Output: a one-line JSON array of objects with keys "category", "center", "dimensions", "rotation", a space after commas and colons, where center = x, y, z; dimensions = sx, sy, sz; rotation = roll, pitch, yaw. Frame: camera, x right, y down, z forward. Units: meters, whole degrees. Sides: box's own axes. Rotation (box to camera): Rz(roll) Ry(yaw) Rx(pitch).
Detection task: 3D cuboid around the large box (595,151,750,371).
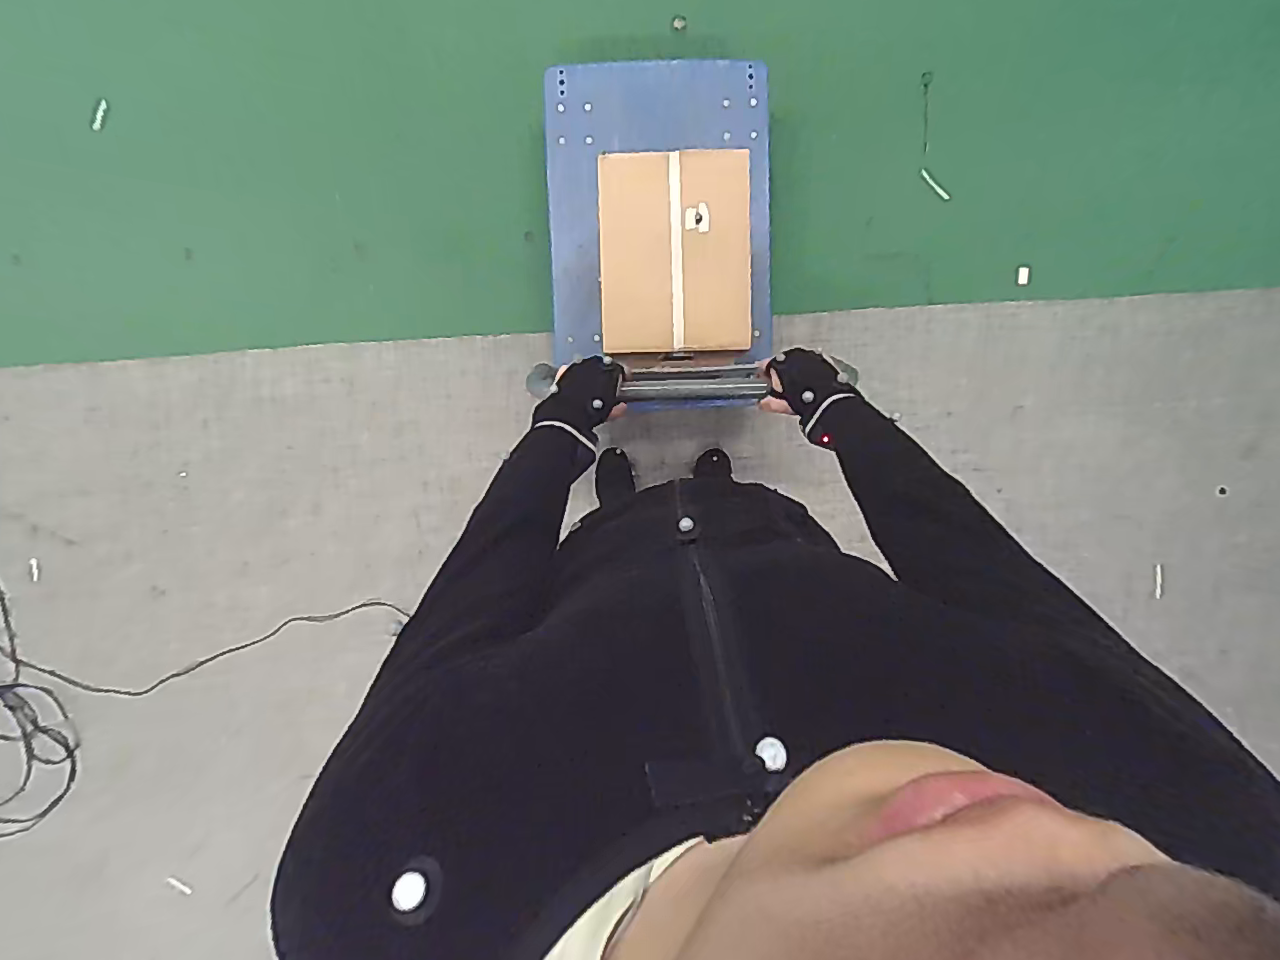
[{"category": "large box", "center": [0.071, -0.482, 1.273], "dimensions": [0.320, 0.320, 0.408], "rotation": [-2, 94, 0]}]
